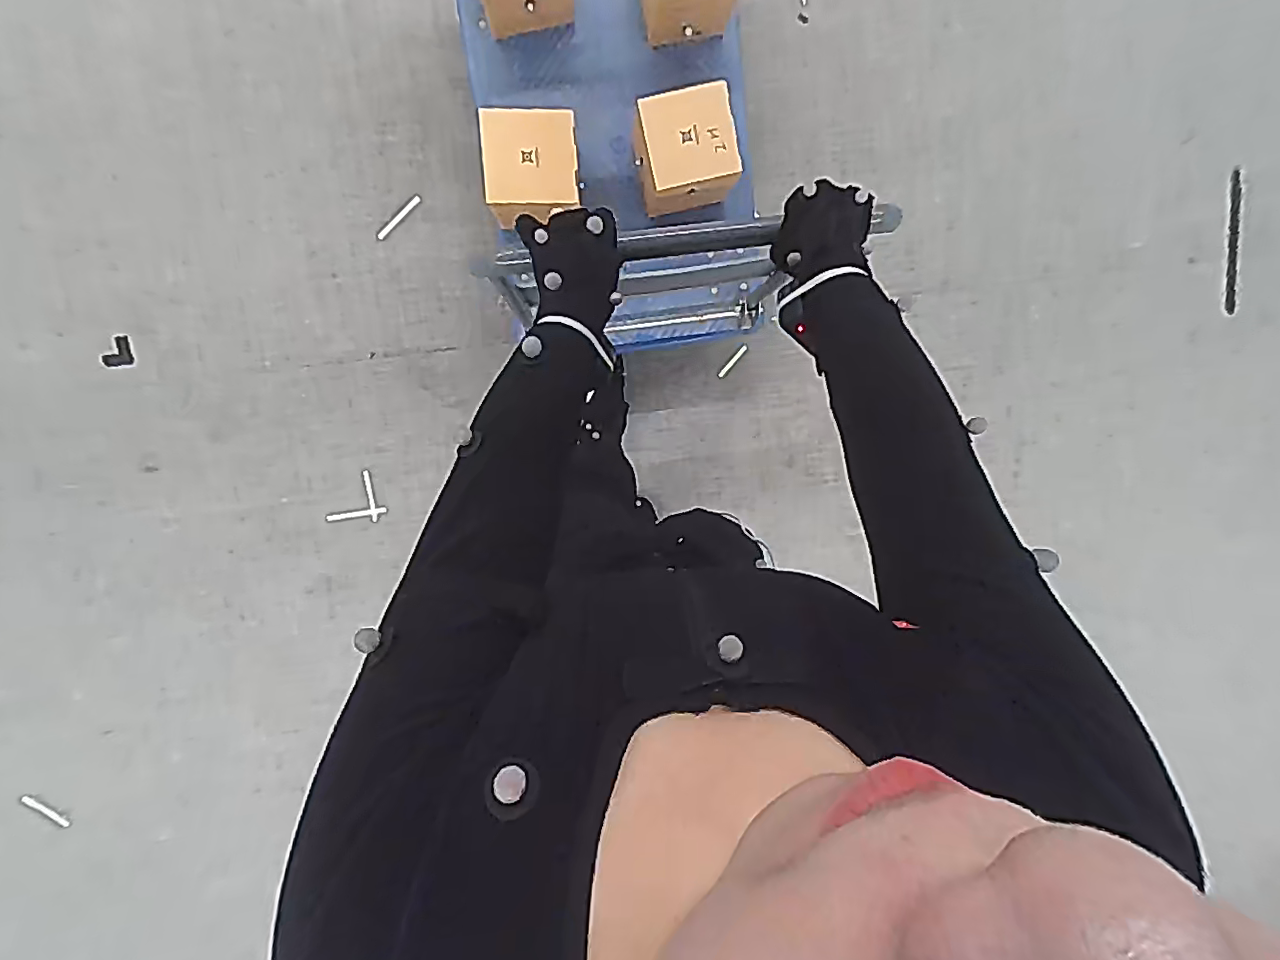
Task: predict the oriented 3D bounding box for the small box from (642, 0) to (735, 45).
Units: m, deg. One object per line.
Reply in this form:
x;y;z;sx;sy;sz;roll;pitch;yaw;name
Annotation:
0.089;-1.005;1.056;0.168;0.176;0.179;-12;102;-3;small box

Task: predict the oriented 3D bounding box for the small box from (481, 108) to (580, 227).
-0.213;-0.622;1.097;0.179;0.176;0.168;-3;100;-6;small box

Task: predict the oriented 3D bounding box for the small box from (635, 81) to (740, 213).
0.089;-0.672;1.114;0.179;0.176;0.168;-14;101;-2;small box
